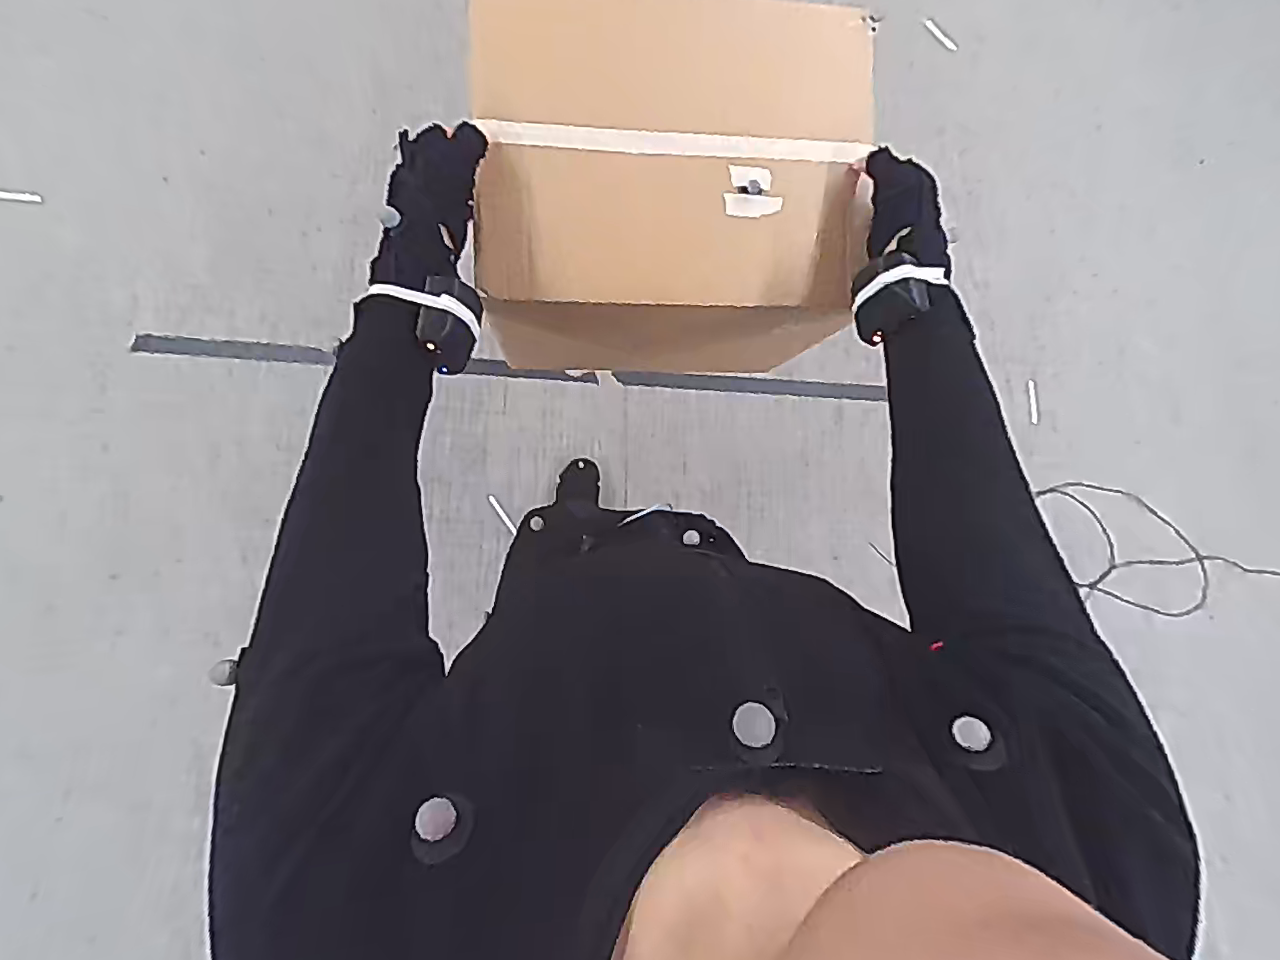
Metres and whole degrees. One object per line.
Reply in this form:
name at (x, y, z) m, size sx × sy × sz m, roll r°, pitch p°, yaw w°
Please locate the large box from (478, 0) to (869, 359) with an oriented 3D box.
large box at (0.021, -0.342, 0.692) m, size 0.408 × 0.320 × 0.320 m, roll -1°, pitch 90°, yaw -8°
